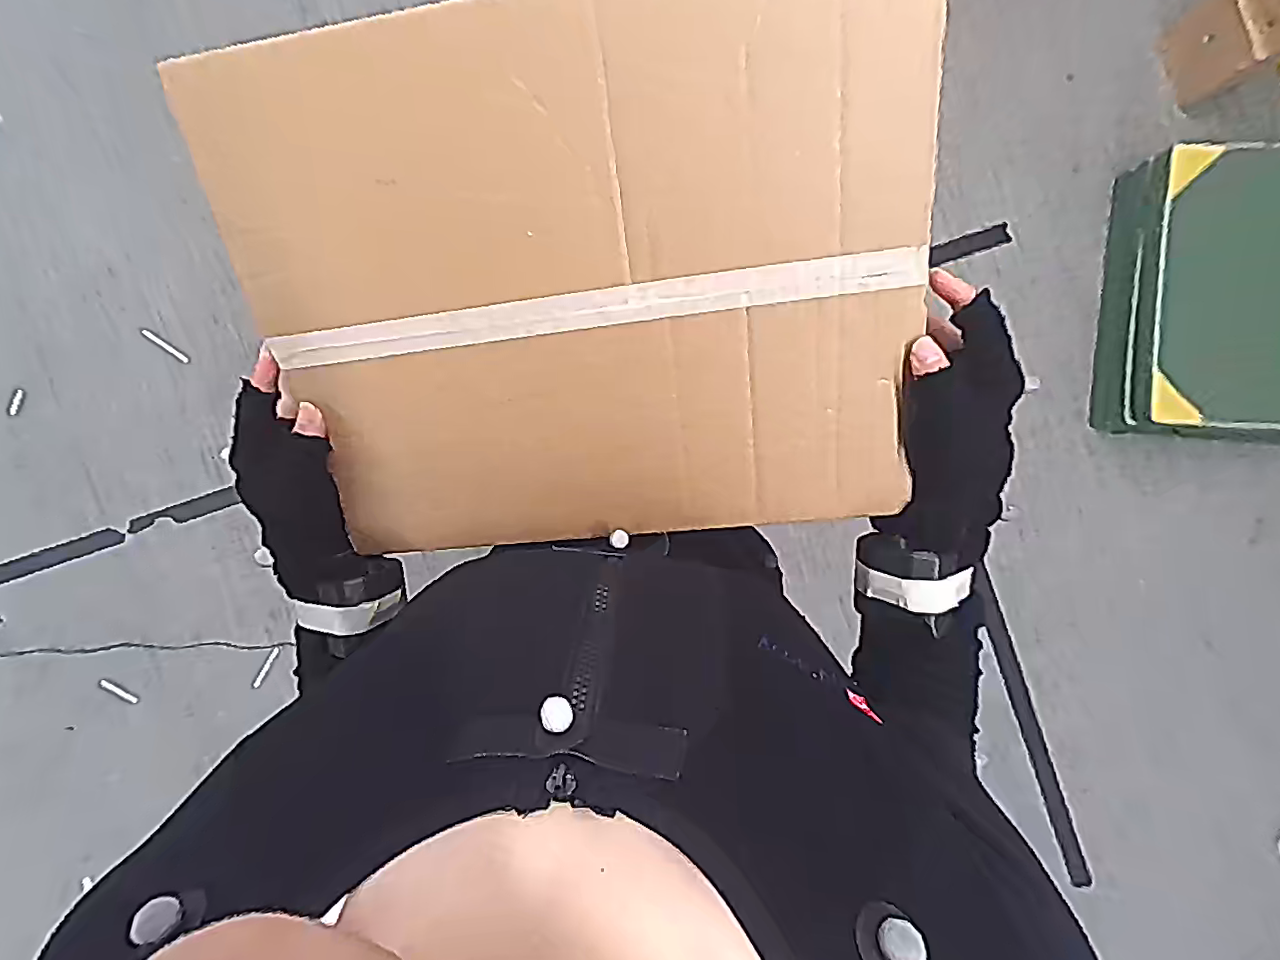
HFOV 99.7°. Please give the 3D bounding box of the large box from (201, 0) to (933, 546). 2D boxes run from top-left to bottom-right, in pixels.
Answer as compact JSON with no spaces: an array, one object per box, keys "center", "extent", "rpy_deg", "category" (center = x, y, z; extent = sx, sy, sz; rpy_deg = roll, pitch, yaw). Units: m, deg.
[{"center":[-0.025,-0.166,0.472],"extent":[0.408,0.320,0.320],"rpy_deg":[-5,114,7],"category":"large box"}]
